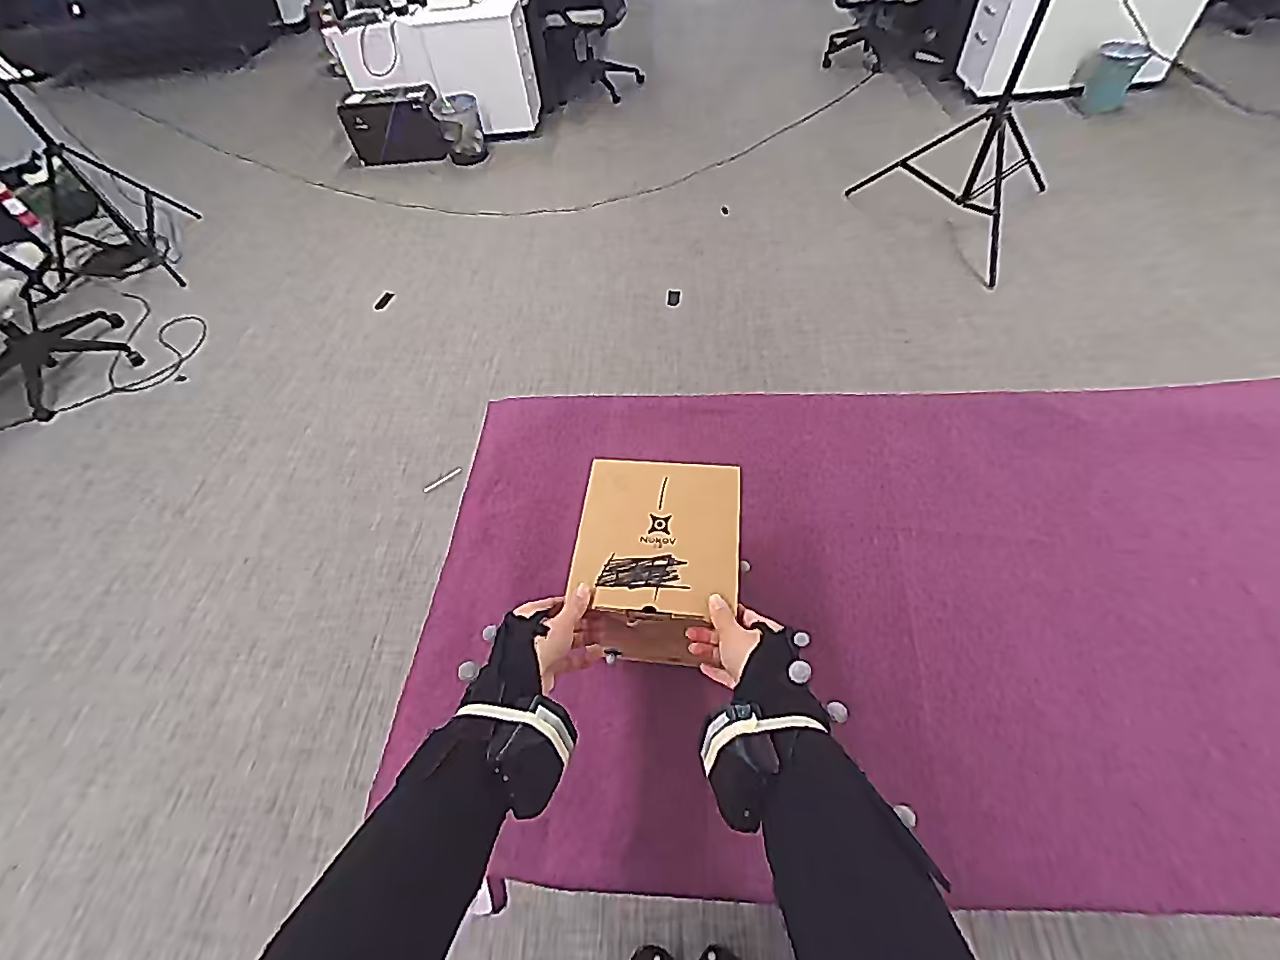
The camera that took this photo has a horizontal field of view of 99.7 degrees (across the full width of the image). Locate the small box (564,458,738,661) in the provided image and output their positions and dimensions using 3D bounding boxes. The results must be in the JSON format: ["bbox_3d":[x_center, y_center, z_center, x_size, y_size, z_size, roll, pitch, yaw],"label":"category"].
[{"bbox_3d":[0.023,0.096,0.620,0.168,0.176,0.179,3,56,7],"label":"small box"}]
